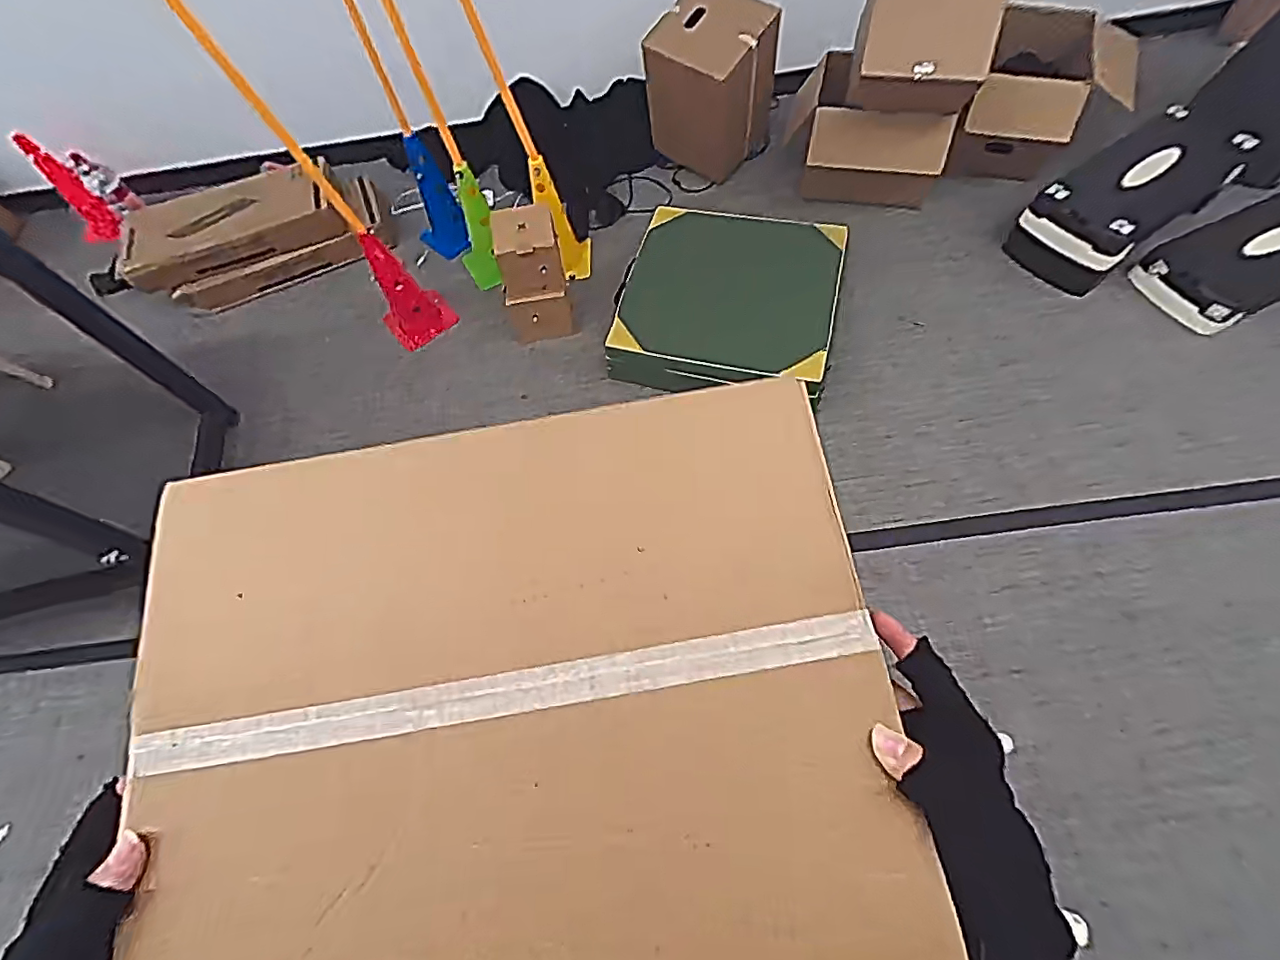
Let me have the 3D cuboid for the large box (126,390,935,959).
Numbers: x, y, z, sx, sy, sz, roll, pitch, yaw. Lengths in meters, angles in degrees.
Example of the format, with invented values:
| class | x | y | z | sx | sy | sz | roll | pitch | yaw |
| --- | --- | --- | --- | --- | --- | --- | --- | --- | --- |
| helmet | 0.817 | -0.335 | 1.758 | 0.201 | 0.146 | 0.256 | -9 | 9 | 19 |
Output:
| class | x | y | z | sx | sy | sz | roll | pitch | yaw |
| --- | --- | --- | --- | --- | --- | --- | --- | --- | --- |
| large box | -0.068 | 0.164 | 0.442 | 0.408 | 0.320 | 0.320 | -10 | 71 | 1 |
